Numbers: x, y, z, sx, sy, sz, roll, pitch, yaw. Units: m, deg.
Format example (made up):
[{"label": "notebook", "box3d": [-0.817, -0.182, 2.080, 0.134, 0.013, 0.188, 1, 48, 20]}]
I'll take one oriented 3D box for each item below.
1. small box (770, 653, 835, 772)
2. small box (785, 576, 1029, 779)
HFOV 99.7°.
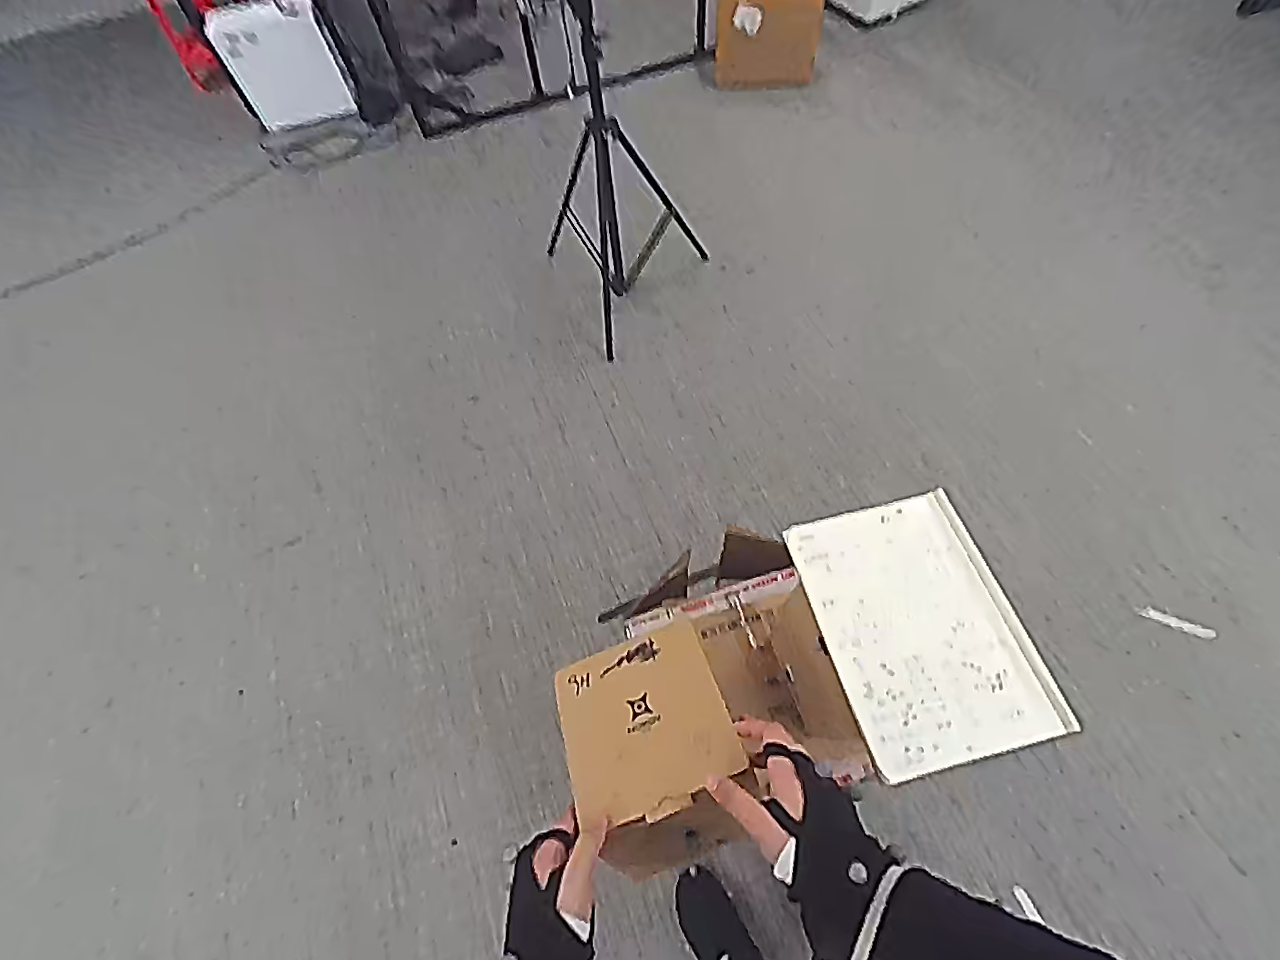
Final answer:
[{"label": "small box", "box3d": [0.310, 0.306, 0.784, 0.179, 0.176, 0.168, -17, 63, -6]}, {"label": "small box", "box3d": [0.288, 0.236, 0.635, 0.168, 0.176, 0.179, -13, 63, -5]}]
